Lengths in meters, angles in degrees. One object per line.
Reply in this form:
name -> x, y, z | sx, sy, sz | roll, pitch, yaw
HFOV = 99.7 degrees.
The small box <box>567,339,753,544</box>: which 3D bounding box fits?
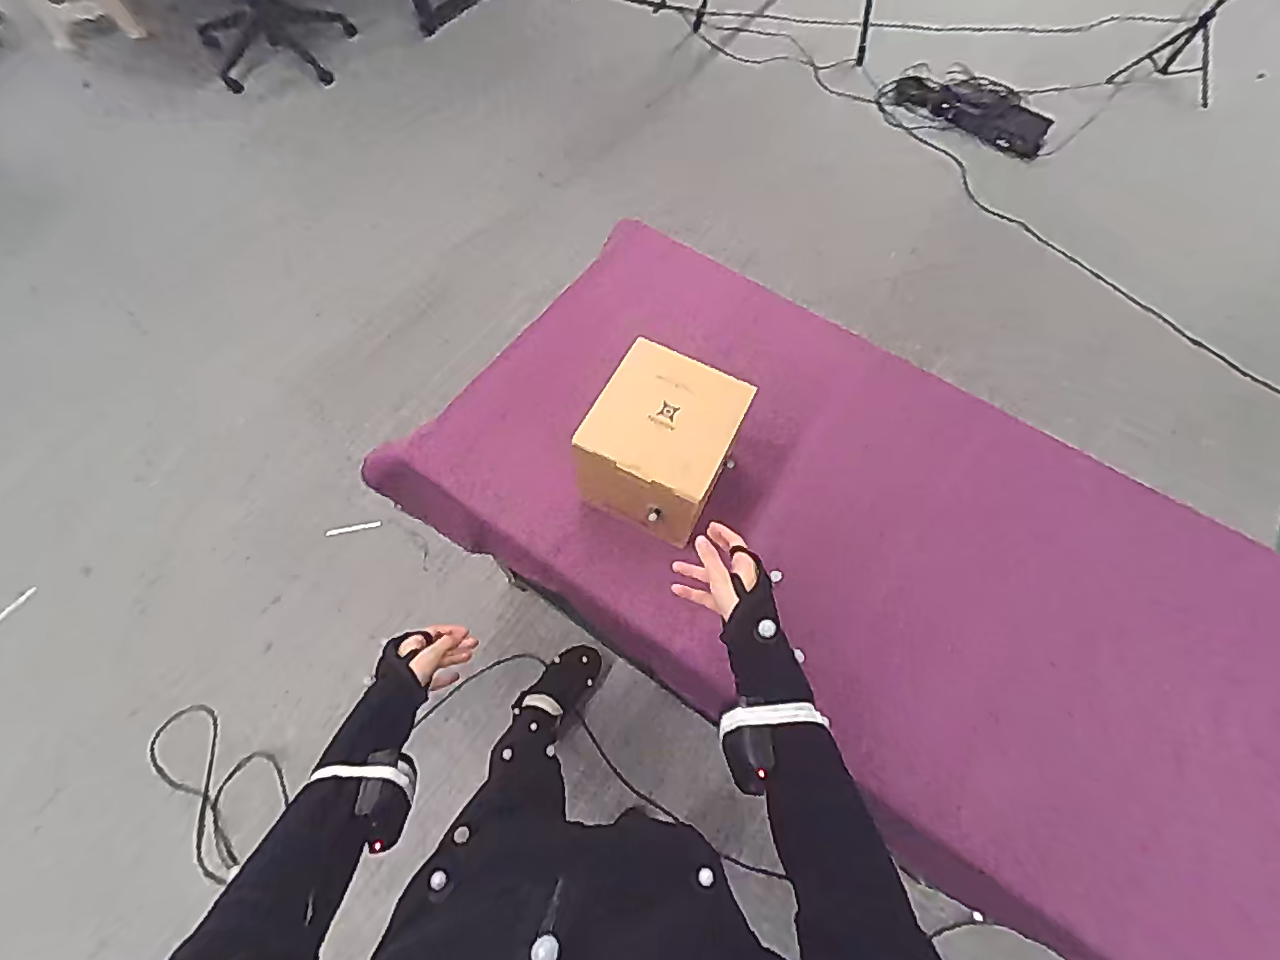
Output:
small box -> 0.025, -0.041, 0.708 | 0.168, 0.176, 0.179 | 27, 66, 9
